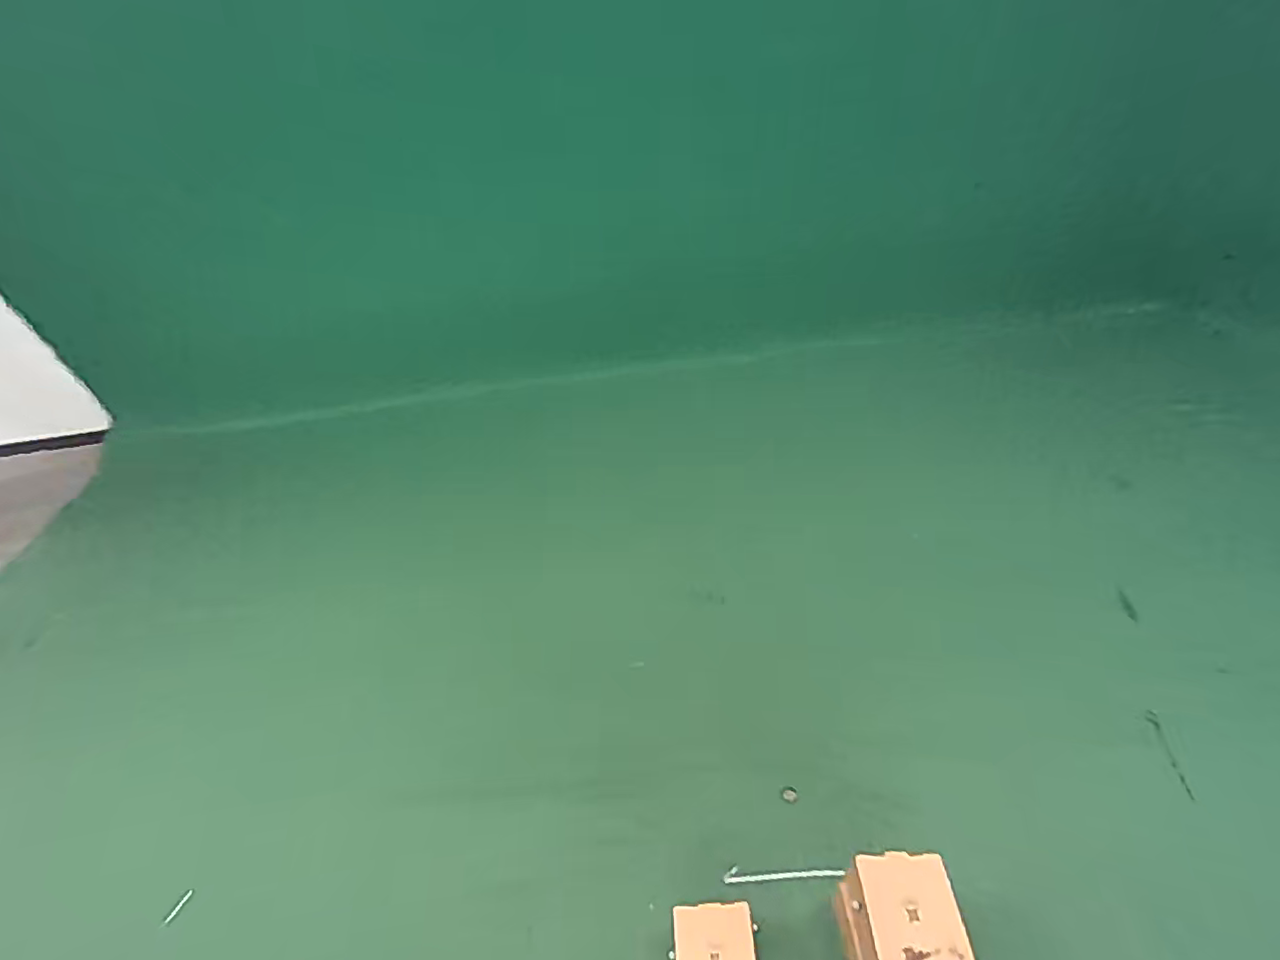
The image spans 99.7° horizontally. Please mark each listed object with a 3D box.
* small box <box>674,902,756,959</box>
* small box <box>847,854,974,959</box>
[{"bbox_3d":[0.167,1.041,1.169,0.168,0.176,0.179,-7,42,4],"label":"small box"},{"bbox_3d":[0.515,0.856,1.054,0.168,0.176,0.179,-4,43,6],"label":"small box"}]
